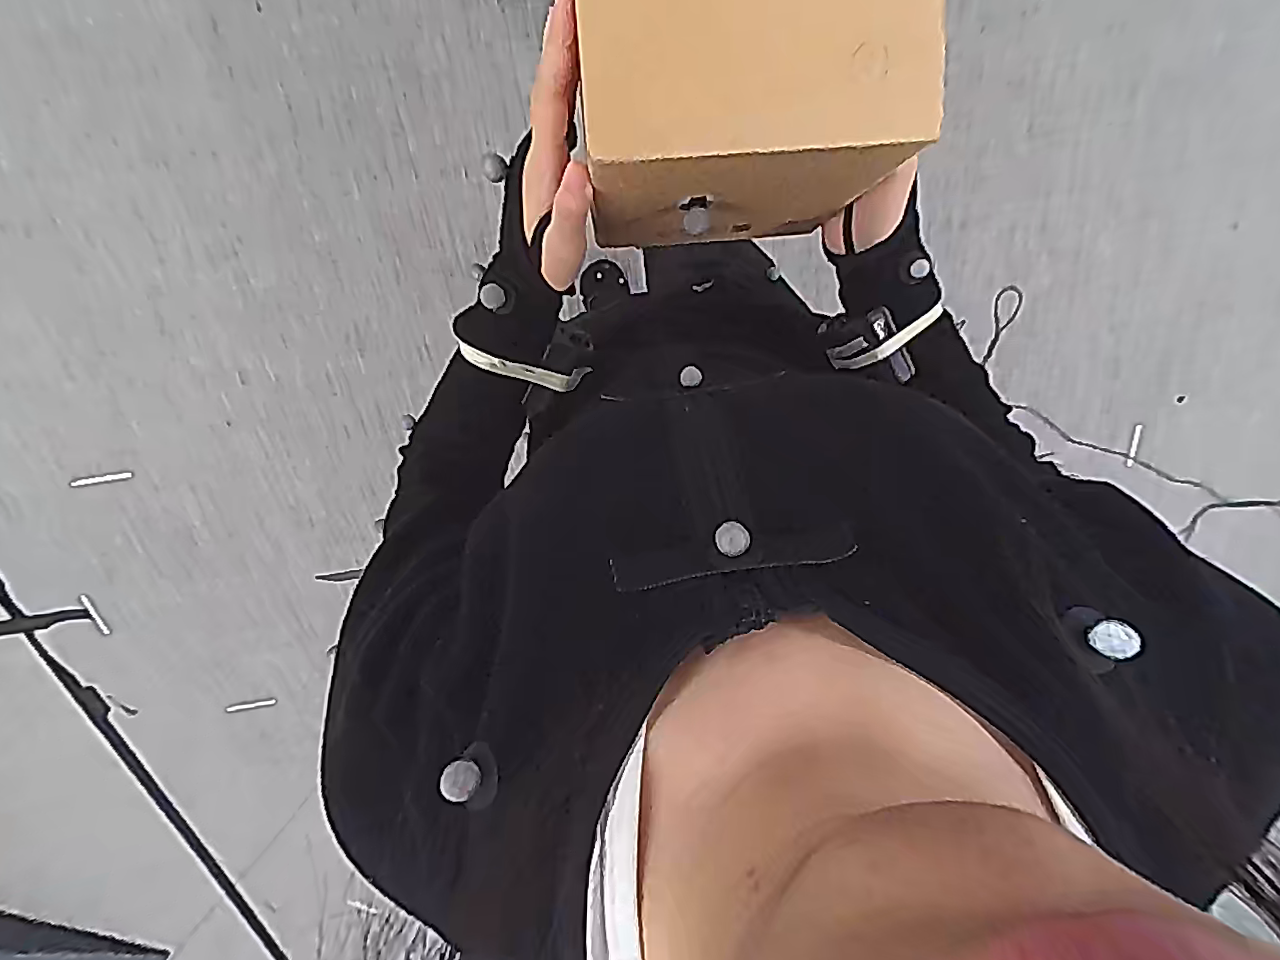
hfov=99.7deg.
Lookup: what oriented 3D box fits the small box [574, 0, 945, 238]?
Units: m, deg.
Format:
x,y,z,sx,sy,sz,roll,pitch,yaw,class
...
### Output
x,y,z,sx,sy,sz,roll,pitch,yaw,class
0.048,-0.250,0.311,0.168,0.176,0.179,-6,100,-2,small box
